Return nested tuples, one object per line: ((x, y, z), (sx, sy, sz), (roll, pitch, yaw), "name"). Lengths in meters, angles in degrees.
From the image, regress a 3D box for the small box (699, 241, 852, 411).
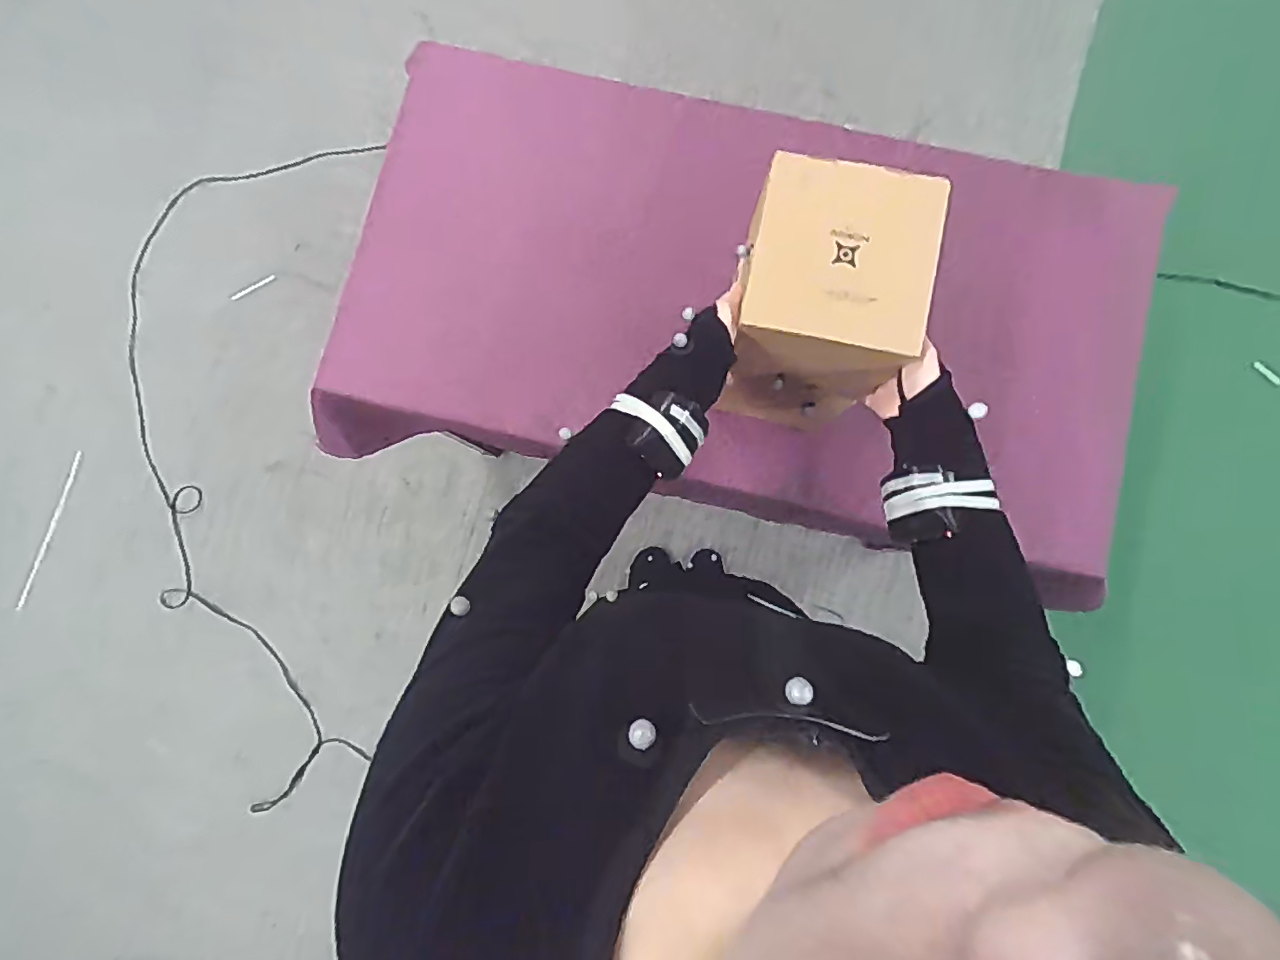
((0.186, -0.199, 0.735), (0.179, 0.176, 0.168), (12, 85, 3), "small box")

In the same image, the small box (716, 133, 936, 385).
((0.180, -0.217, 0.572), (0.168, 0.176, 0.179), (11, 86, 4), "small box")
